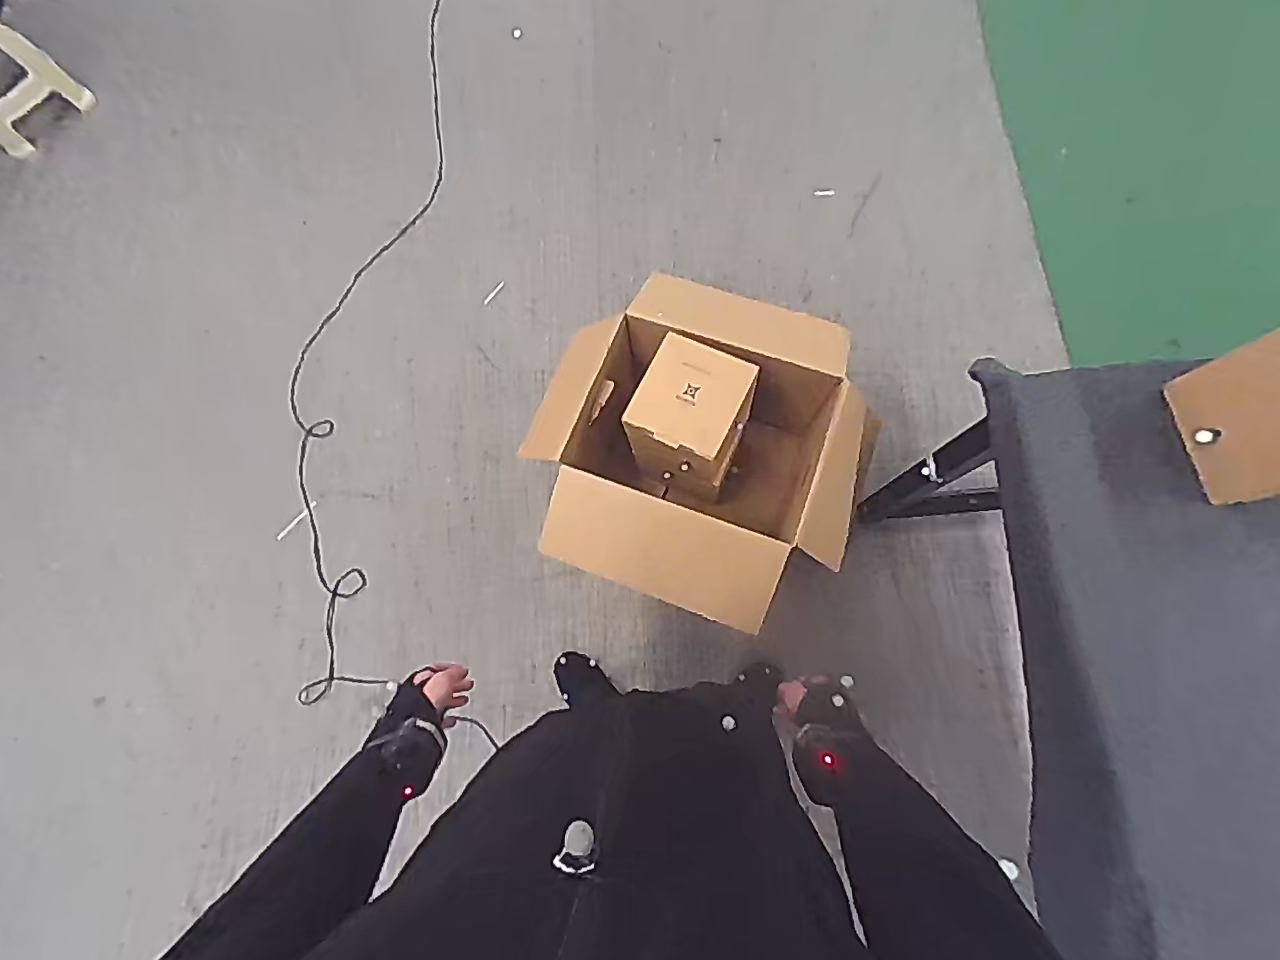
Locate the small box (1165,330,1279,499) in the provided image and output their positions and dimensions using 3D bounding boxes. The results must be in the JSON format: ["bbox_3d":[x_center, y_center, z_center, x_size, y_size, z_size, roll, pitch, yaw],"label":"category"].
[{"bbox_3d":[0.810,-0.080,0.651,0.168,0.176,0.179,-9,75,1],"label":"small box"}]
